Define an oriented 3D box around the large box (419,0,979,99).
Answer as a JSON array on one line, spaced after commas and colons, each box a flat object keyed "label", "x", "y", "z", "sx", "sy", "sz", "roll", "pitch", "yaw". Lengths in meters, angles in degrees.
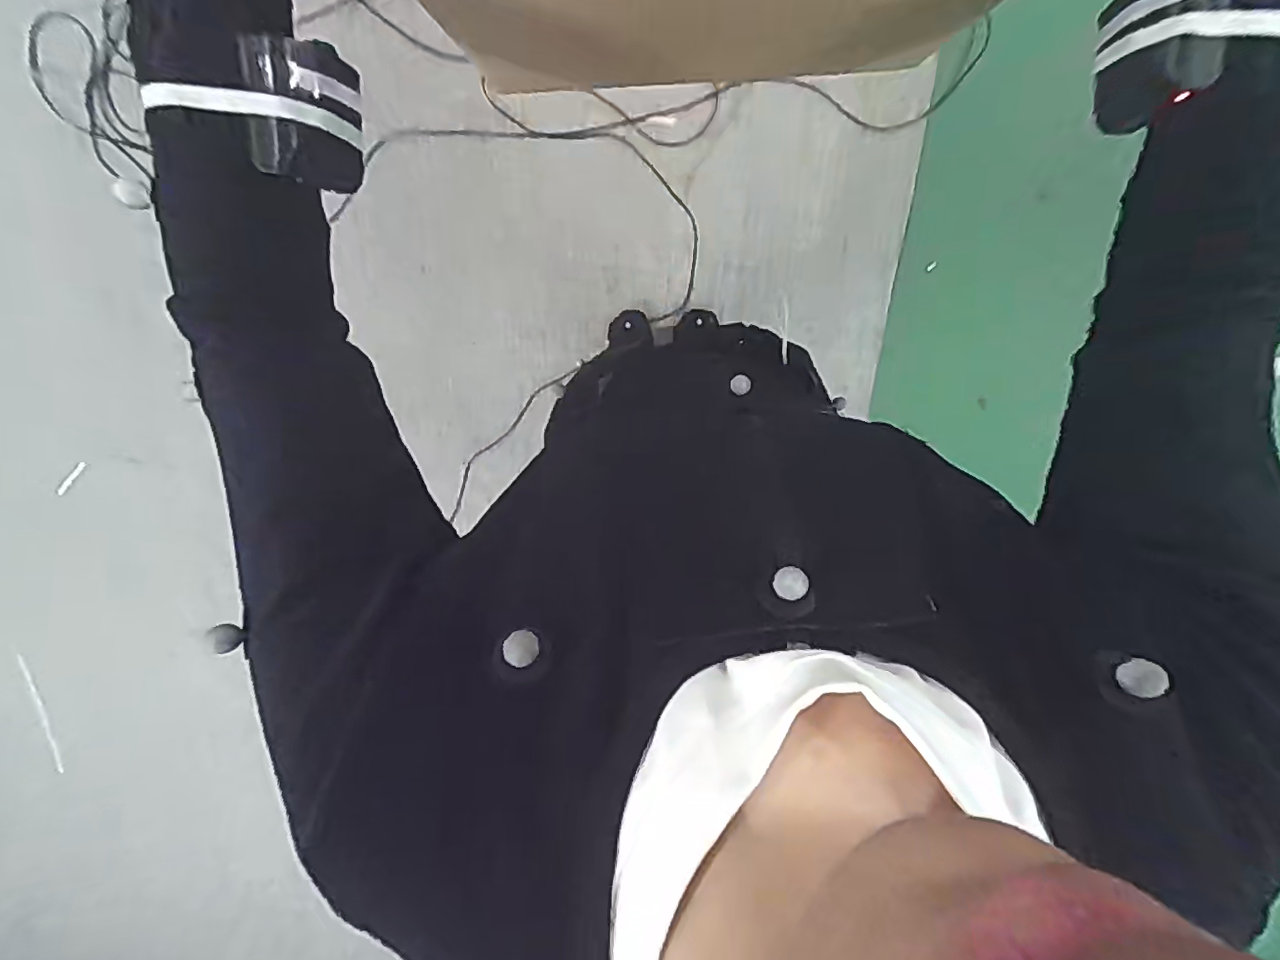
[{"label": "large box", "x": 0.044, "y": -0.467, "z": 0.322, "sx": 0.408, "sy": 0.320, "sz": 0.320, "roll": -3, "pitch": 112, "yaw": 2}]
